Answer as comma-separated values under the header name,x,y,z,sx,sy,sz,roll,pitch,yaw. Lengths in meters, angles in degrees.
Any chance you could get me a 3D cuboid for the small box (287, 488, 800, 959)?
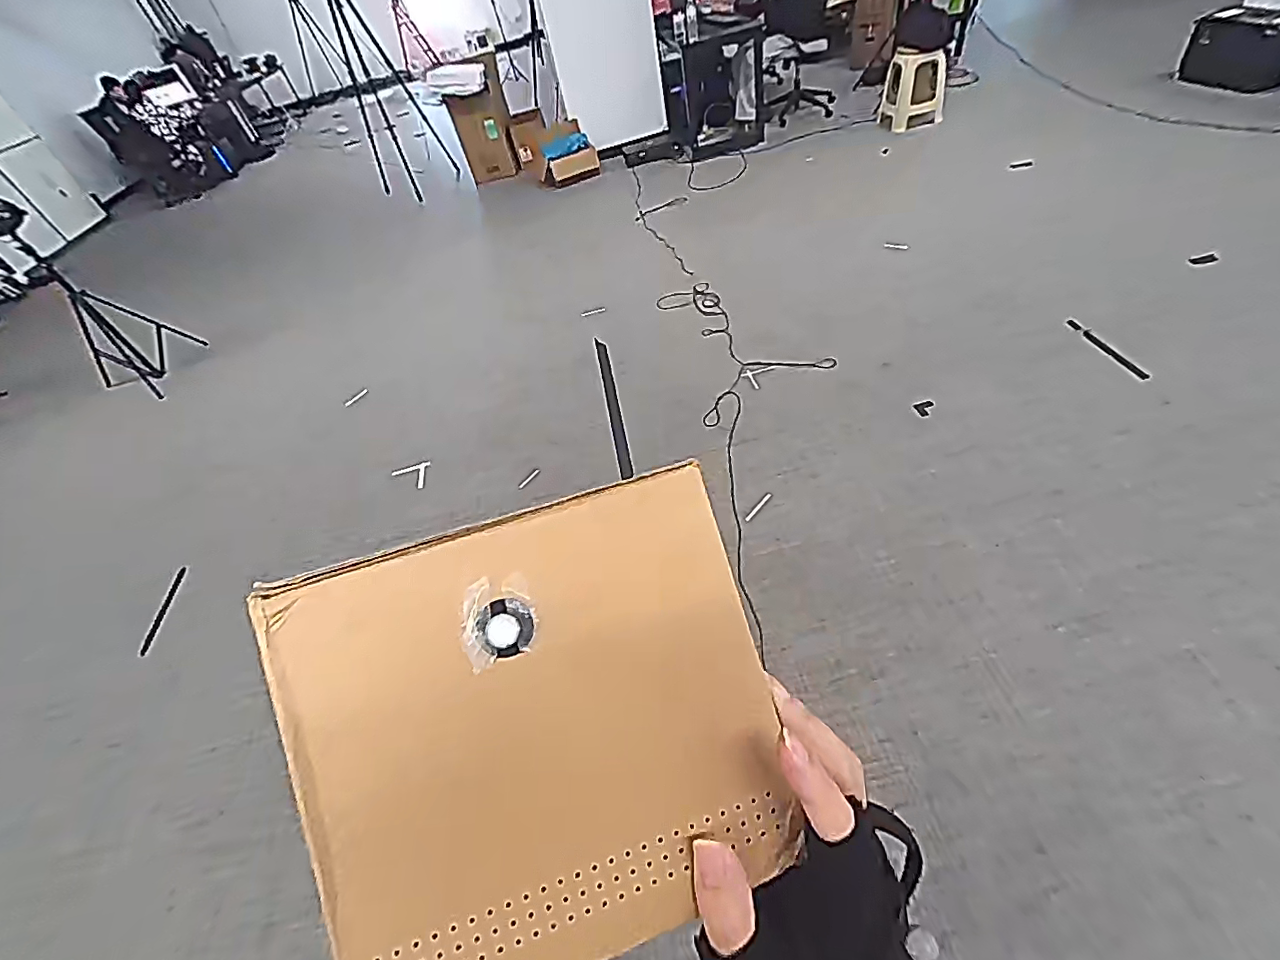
name,x,y,z,sx,sy,sz,roll,pitch,yaw
small box,-0.044,0.117,0.295,0.179,0.168,0.176,-16,85,-10
